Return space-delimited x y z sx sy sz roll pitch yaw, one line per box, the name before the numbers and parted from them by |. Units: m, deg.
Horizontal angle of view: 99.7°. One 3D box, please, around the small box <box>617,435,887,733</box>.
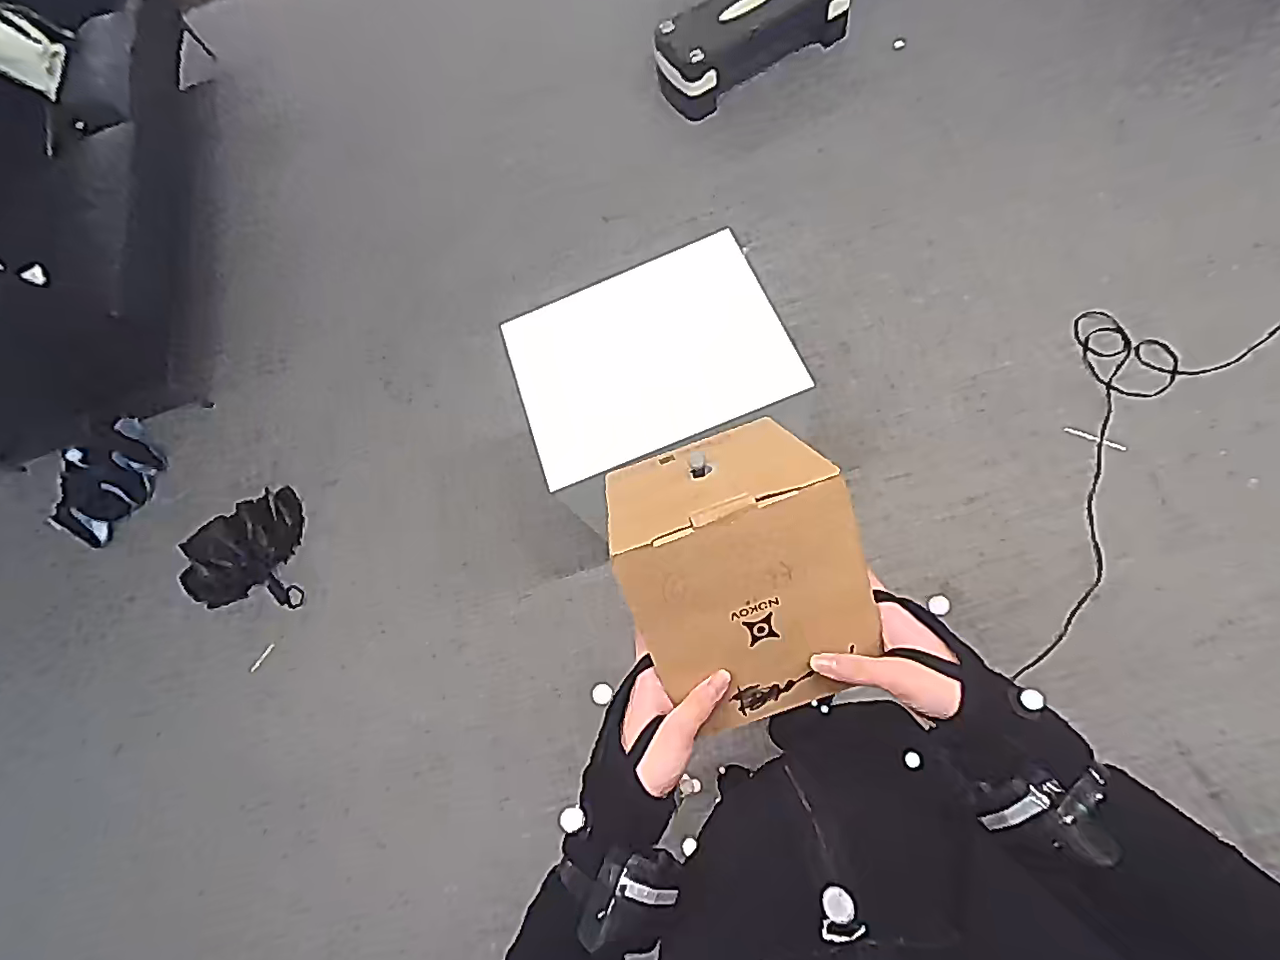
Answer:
small box | 0.082 0.071 0.468 0.168 0.176 0.179 -19 109 3
